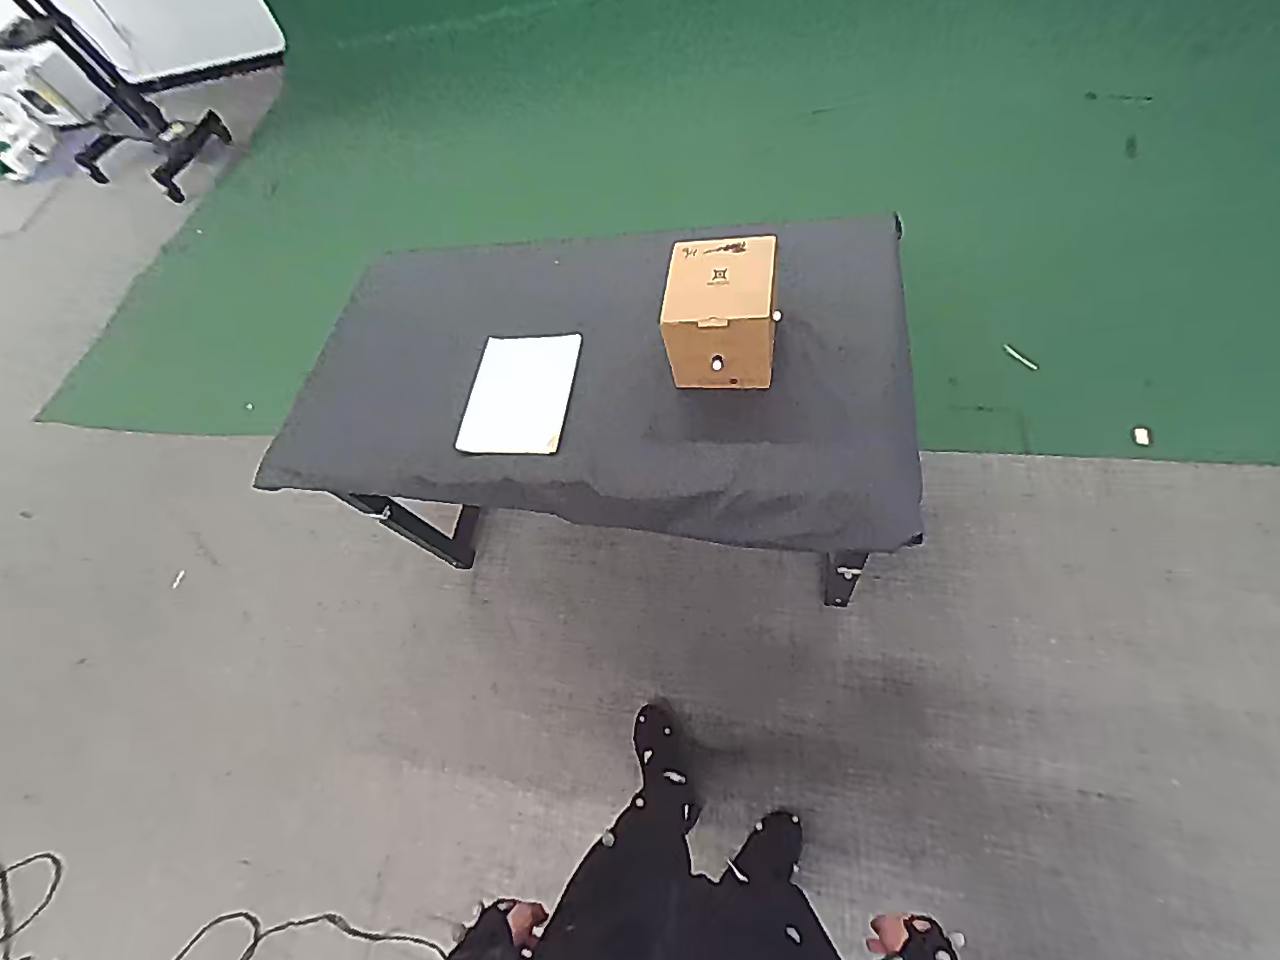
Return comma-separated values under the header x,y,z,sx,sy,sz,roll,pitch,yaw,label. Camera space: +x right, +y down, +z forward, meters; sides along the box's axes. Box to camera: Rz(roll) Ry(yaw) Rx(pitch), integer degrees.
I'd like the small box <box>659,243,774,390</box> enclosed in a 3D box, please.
x,y,z,sx,sy,sz,roll,pitch,yaw,label
0.137,-0.266,0.910,0.168,0.176,0.179,3,65,15,small box
